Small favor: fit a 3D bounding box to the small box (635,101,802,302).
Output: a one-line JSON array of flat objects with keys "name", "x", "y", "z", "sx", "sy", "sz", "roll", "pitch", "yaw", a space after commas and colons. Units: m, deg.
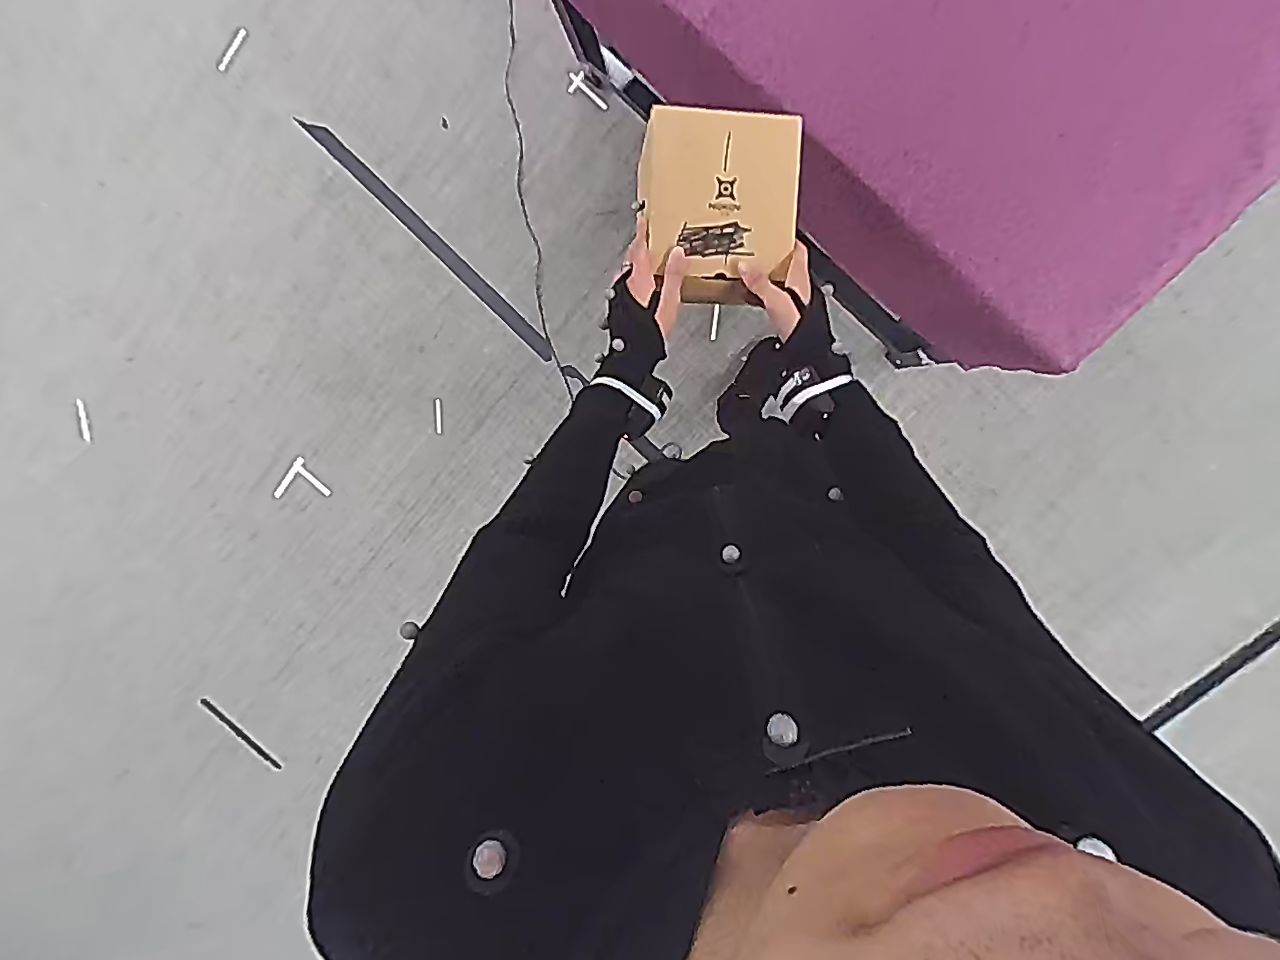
[{"name": "small box", "x": 0.084, "y": -0.320, "z": 0.658, "sx": 0.168, "sy": 0.176, "sz": 0.179, "roll": 0, "pitch": 98, "yaw": -5}]
